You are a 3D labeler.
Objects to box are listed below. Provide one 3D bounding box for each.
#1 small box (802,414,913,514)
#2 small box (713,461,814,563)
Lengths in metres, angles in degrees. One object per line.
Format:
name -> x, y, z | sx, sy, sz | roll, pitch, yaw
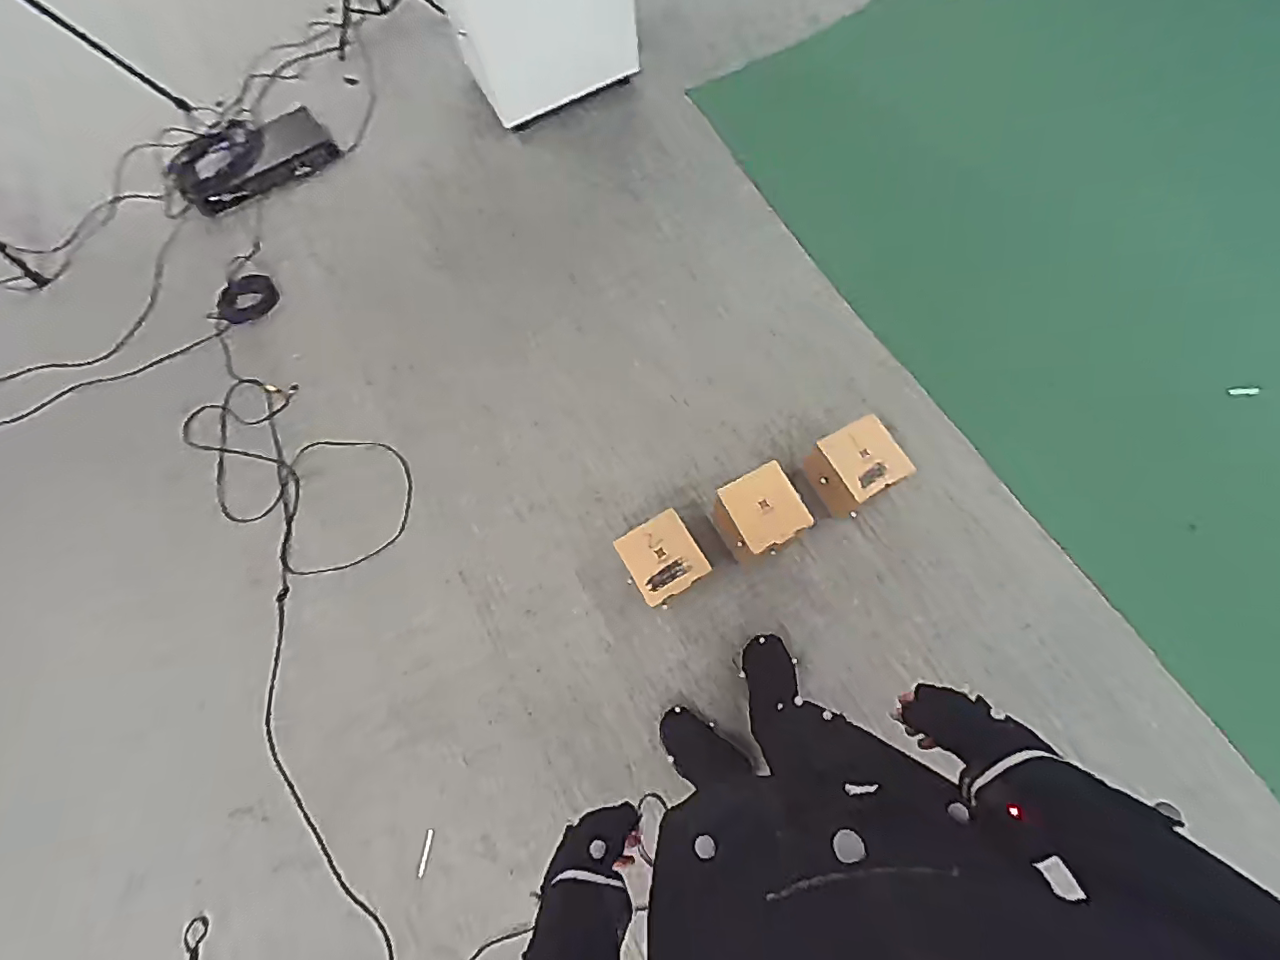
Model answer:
small box -> 0.536, -0.029, 1.355 | 0.168, 0.176, 0.179 | -28, 72, -6
small box -> 0.293, 0.085, 1.331 | 0.168, 0.176, 0.179 | -27, 73, -6
